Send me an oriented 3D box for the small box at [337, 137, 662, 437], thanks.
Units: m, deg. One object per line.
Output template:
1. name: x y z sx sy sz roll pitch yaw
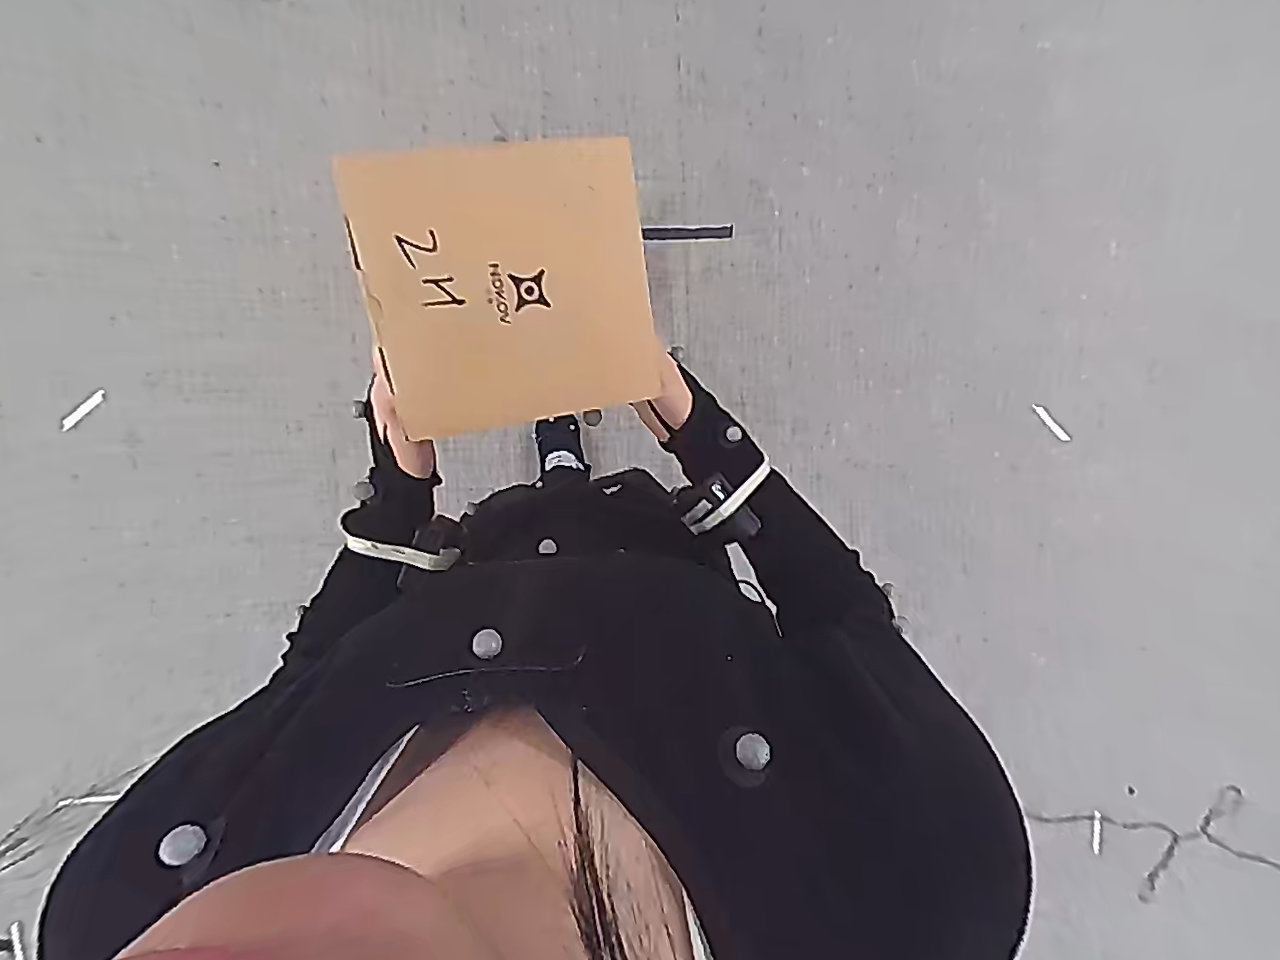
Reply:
1. small box: -0.098 -0.140 0.412 0.179 0.176 0.168 -12 106 -13
